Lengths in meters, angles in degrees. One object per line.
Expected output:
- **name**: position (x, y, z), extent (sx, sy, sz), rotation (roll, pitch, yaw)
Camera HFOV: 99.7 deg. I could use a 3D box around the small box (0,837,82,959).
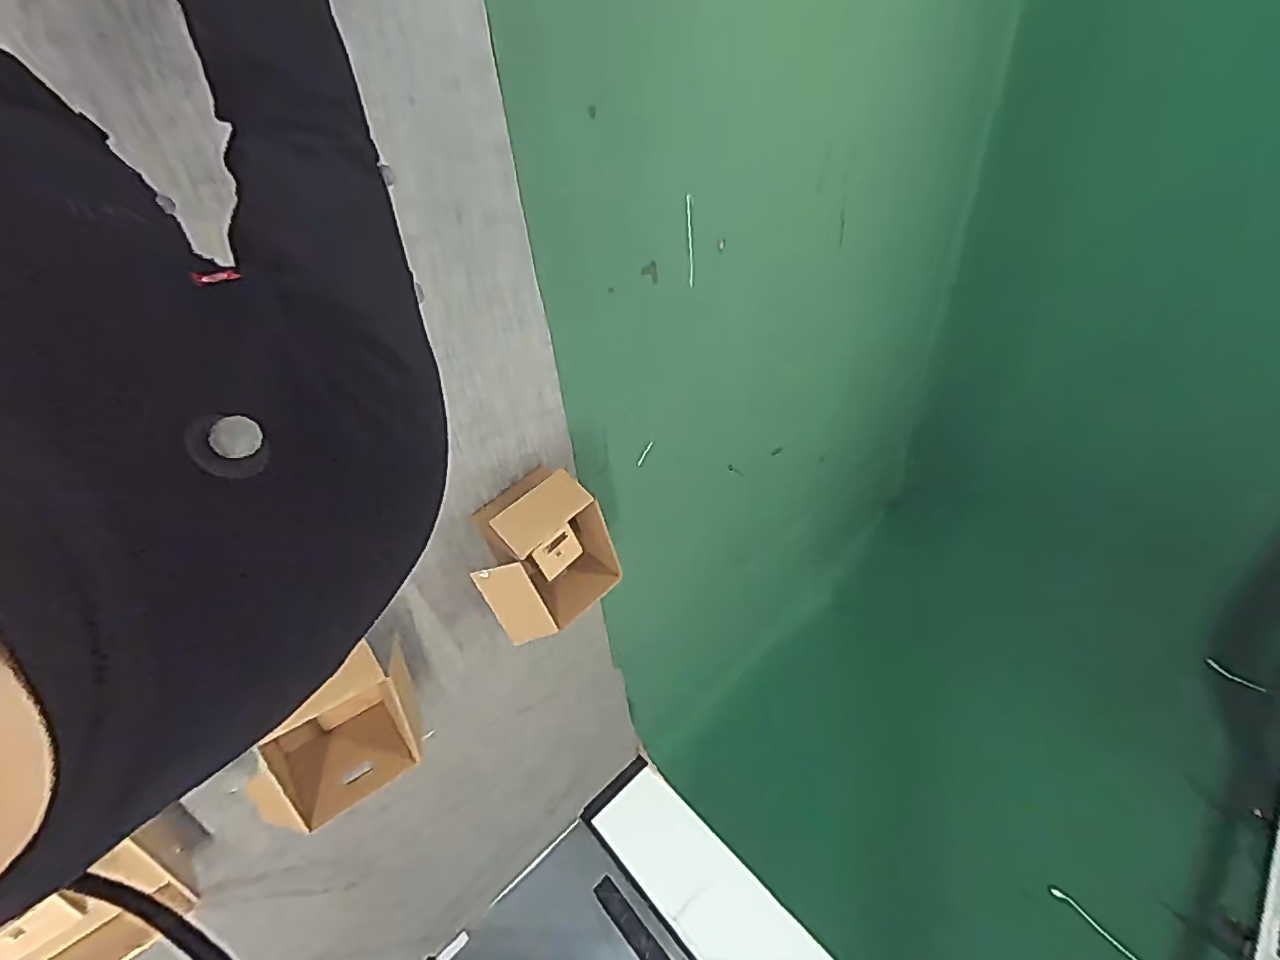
- **small box**: position (-1.402, 0.948, 1.206), extent (0.168, 0.176, 0.179), rotation (-24, 131, -34)
